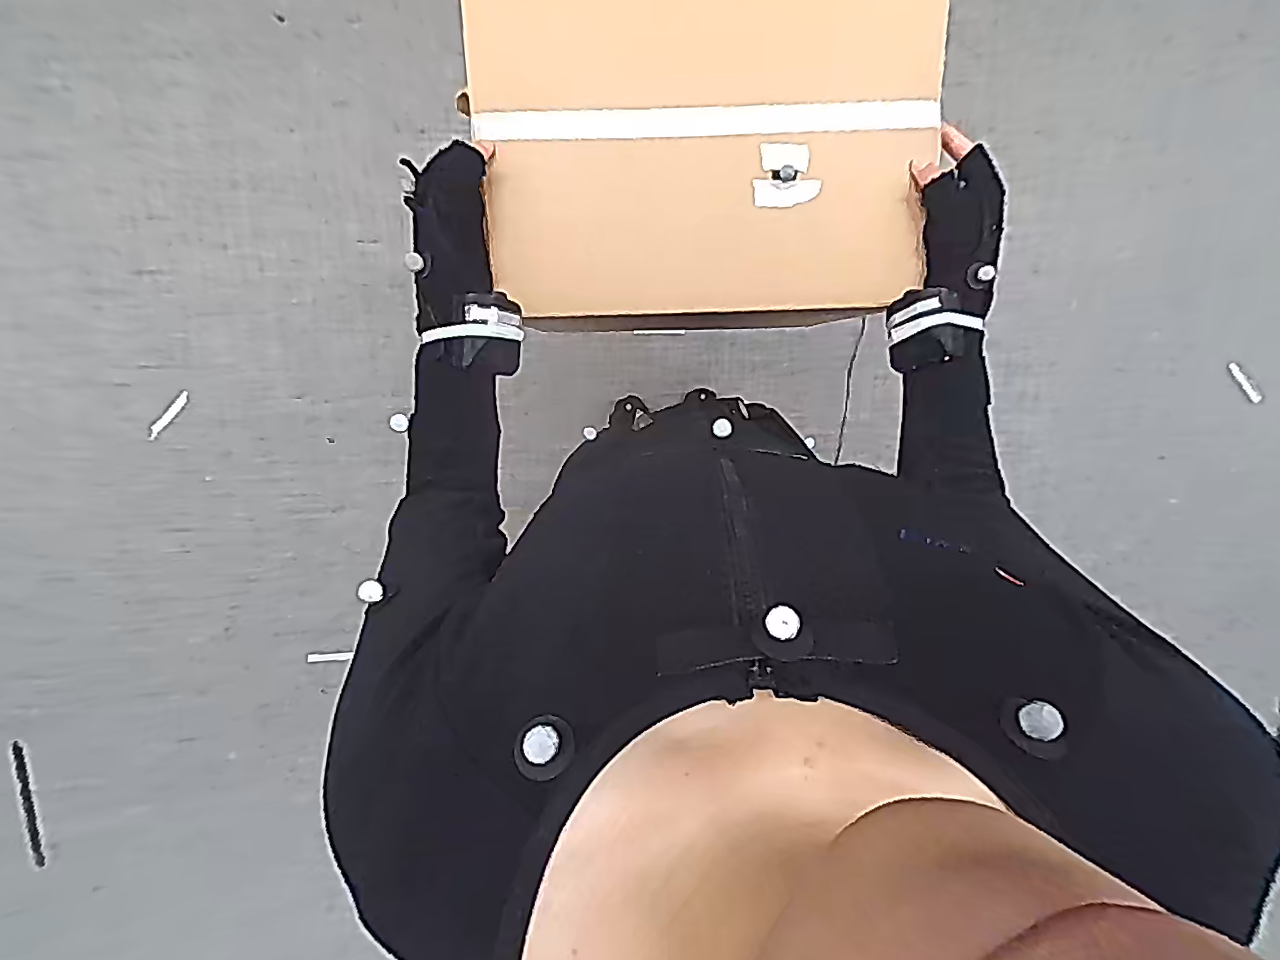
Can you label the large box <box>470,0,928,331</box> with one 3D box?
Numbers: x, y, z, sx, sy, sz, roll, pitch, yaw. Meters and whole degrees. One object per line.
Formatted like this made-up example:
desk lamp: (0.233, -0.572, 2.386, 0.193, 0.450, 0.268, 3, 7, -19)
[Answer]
large box: (0.051, -0.352, 0.633, 0.408, 0.320, 0.320, -3, 103, -2)
